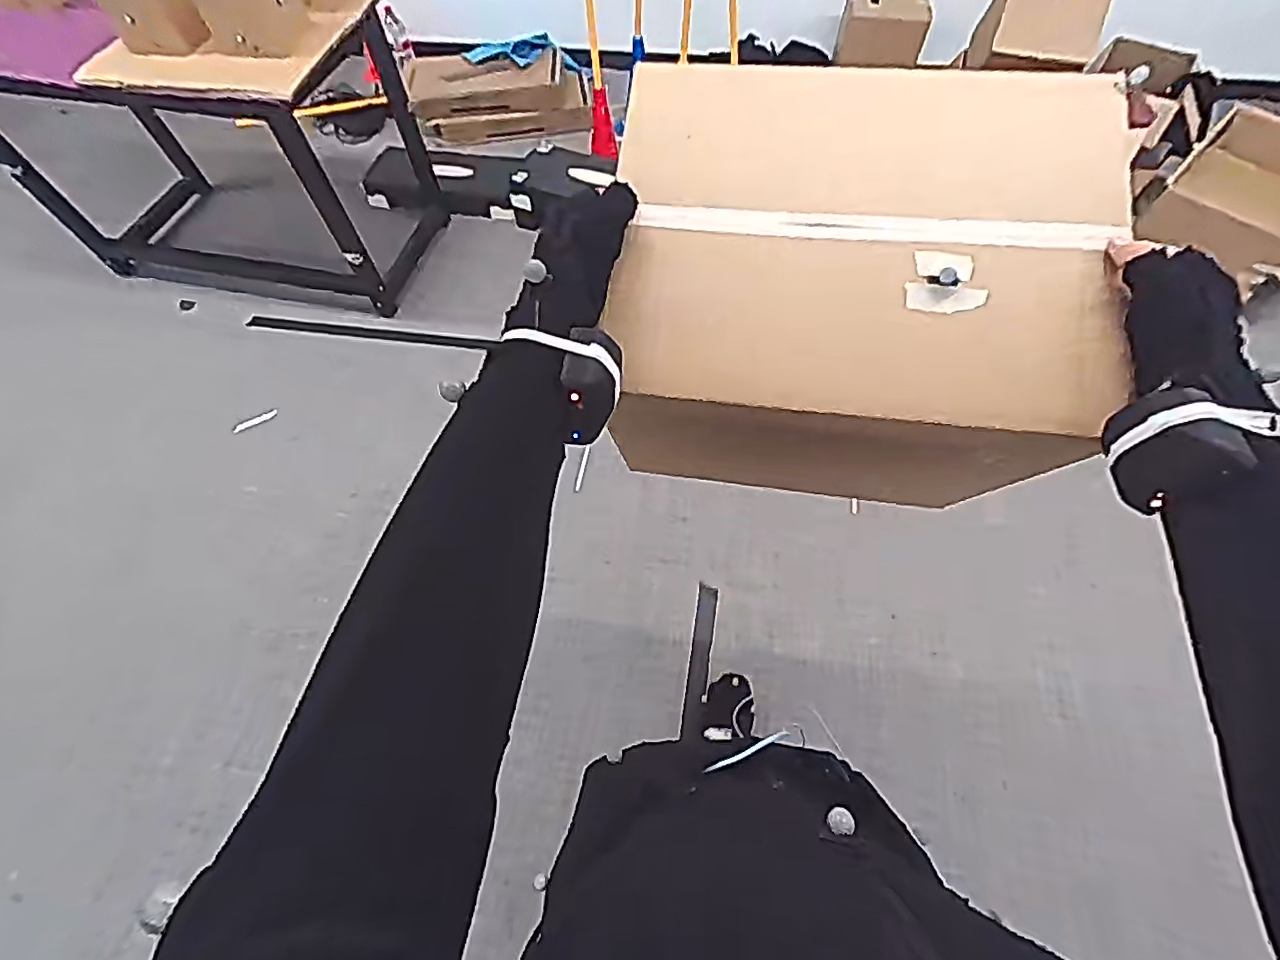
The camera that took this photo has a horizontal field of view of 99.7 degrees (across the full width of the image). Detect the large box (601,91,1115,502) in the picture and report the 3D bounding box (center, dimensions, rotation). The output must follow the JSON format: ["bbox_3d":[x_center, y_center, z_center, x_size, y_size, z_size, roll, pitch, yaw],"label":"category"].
[{"bbox_3d":[0.192,-0.168,0.602,0.408,0.320,0.320,7,80,7],"label":"large box"}]
